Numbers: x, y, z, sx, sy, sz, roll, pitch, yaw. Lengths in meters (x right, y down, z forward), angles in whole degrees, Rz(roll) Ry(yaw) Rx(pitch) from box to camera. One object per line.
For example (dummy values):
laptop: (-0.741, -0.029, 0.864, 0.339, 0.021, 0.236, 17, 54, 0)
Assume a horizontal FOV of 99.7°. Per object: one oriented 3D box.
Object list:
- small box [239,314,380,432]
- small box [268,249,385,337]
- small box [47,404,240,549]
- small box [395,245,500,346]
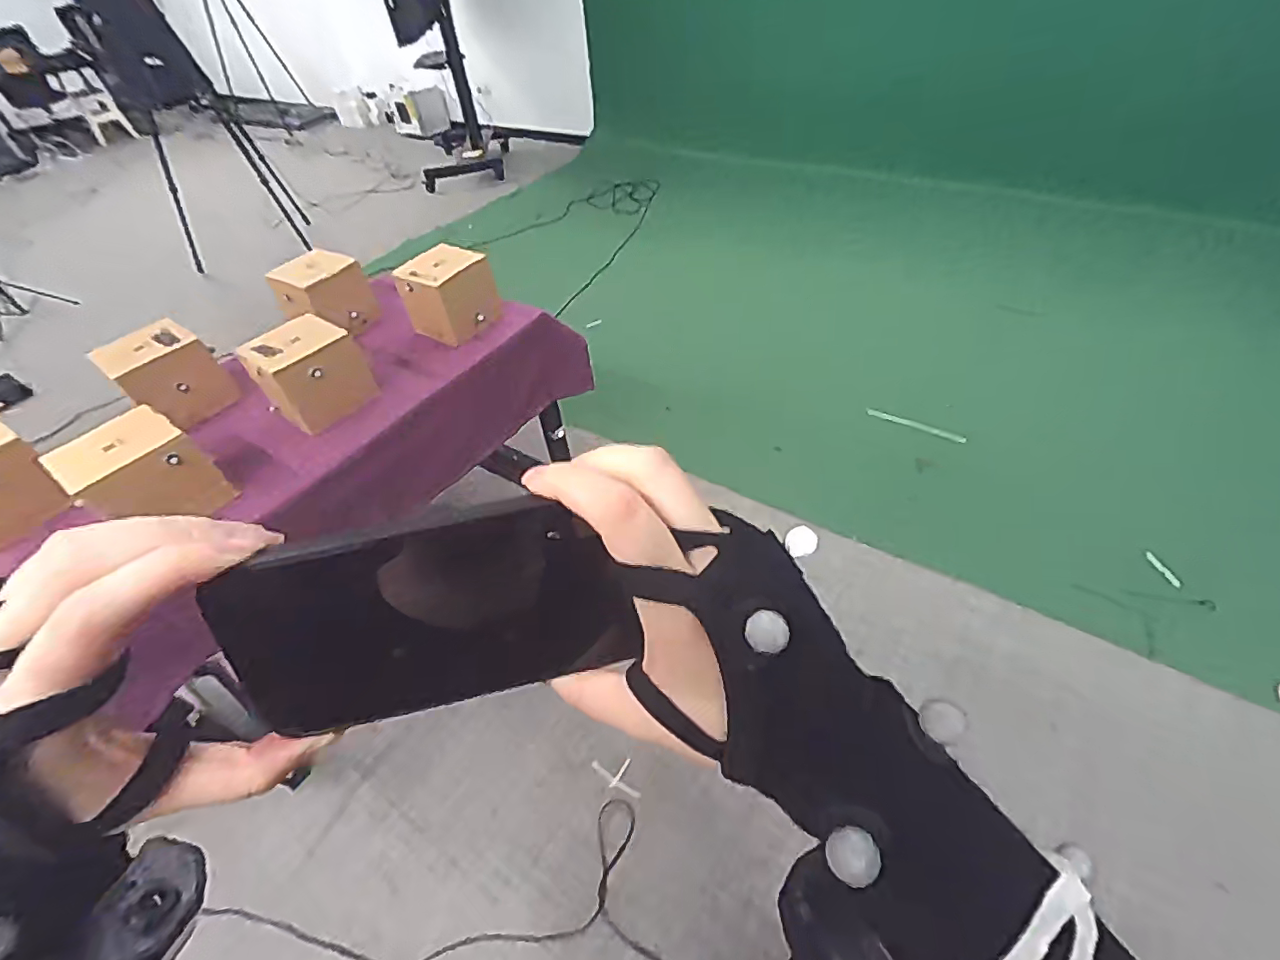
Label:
small box: (-0.717, -0.234, 1.192, 0.168, 0.176, 0.179, 27, 54, 27)
small box: (-0.824, -0.486, 1.434, 0.179, 0.176, 0.168, 22, 54, 23)
small box: (-0.902, -0.005, 0.997, 0.168, 0.176, 0.179, 25, 53, 26)
small box: (-0.482, -0.474, 1.390, 0.168, 0.176, 0.179, 23, 53, 25)
